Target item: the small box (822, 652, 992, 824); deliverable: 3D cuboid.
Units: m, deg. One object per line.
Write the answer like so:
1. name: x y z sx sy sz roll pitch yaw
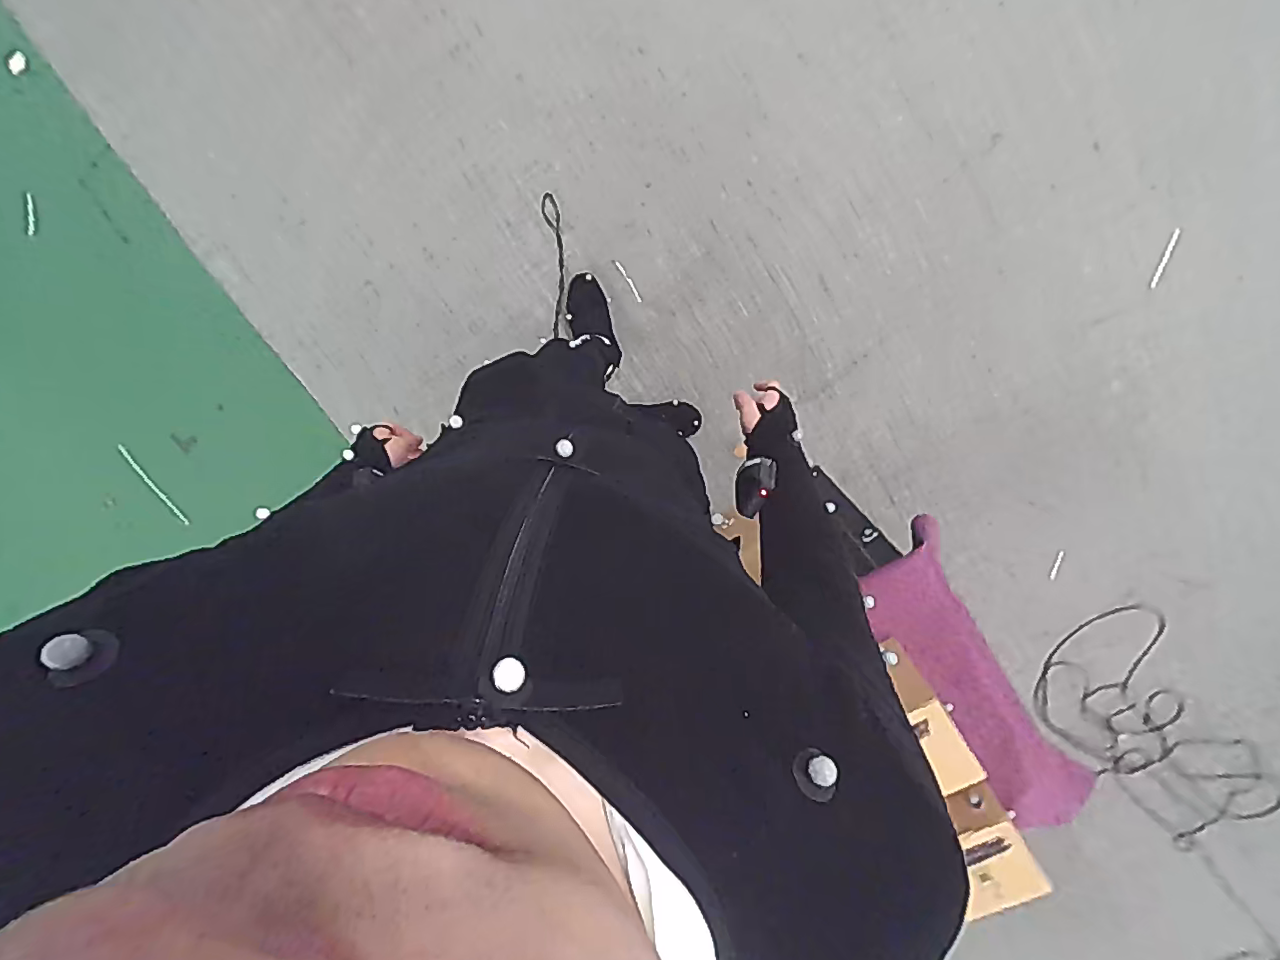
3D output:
1. small box: 0.432 0.417 0.907 0.168 0.176 0.179 -33 103 12
